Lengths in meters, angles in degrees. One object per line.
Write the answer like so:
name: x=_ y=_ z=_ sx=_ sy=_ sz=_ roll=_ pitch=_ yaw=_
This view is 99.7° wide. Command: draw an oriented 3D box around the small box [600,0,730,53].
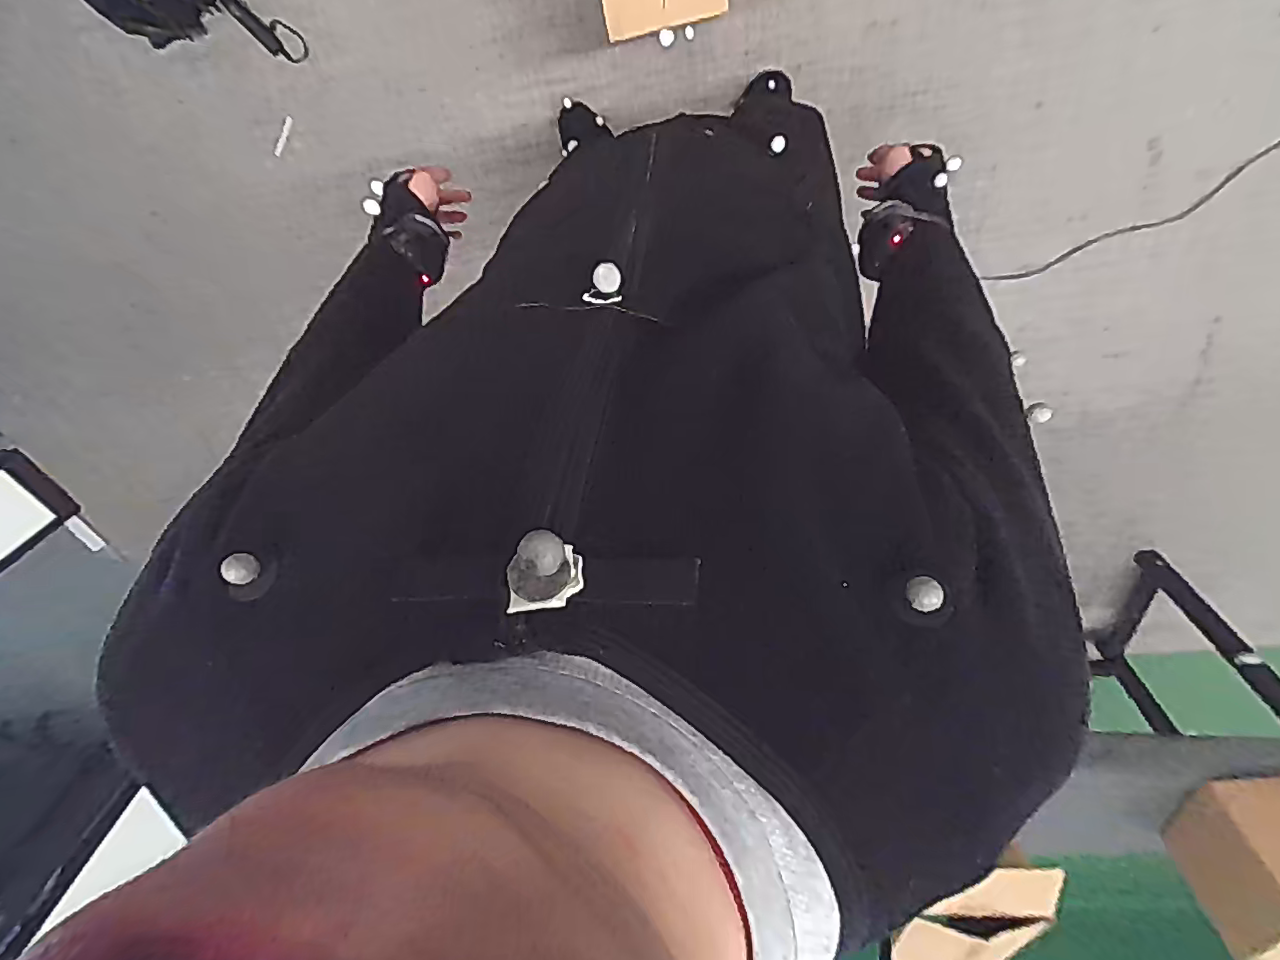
small box: x=0.025 y=-0.702 z=0.725 sx=0.168 sy=0.176 sz=0.179 roll=-7 pitch=131 yaw=10
